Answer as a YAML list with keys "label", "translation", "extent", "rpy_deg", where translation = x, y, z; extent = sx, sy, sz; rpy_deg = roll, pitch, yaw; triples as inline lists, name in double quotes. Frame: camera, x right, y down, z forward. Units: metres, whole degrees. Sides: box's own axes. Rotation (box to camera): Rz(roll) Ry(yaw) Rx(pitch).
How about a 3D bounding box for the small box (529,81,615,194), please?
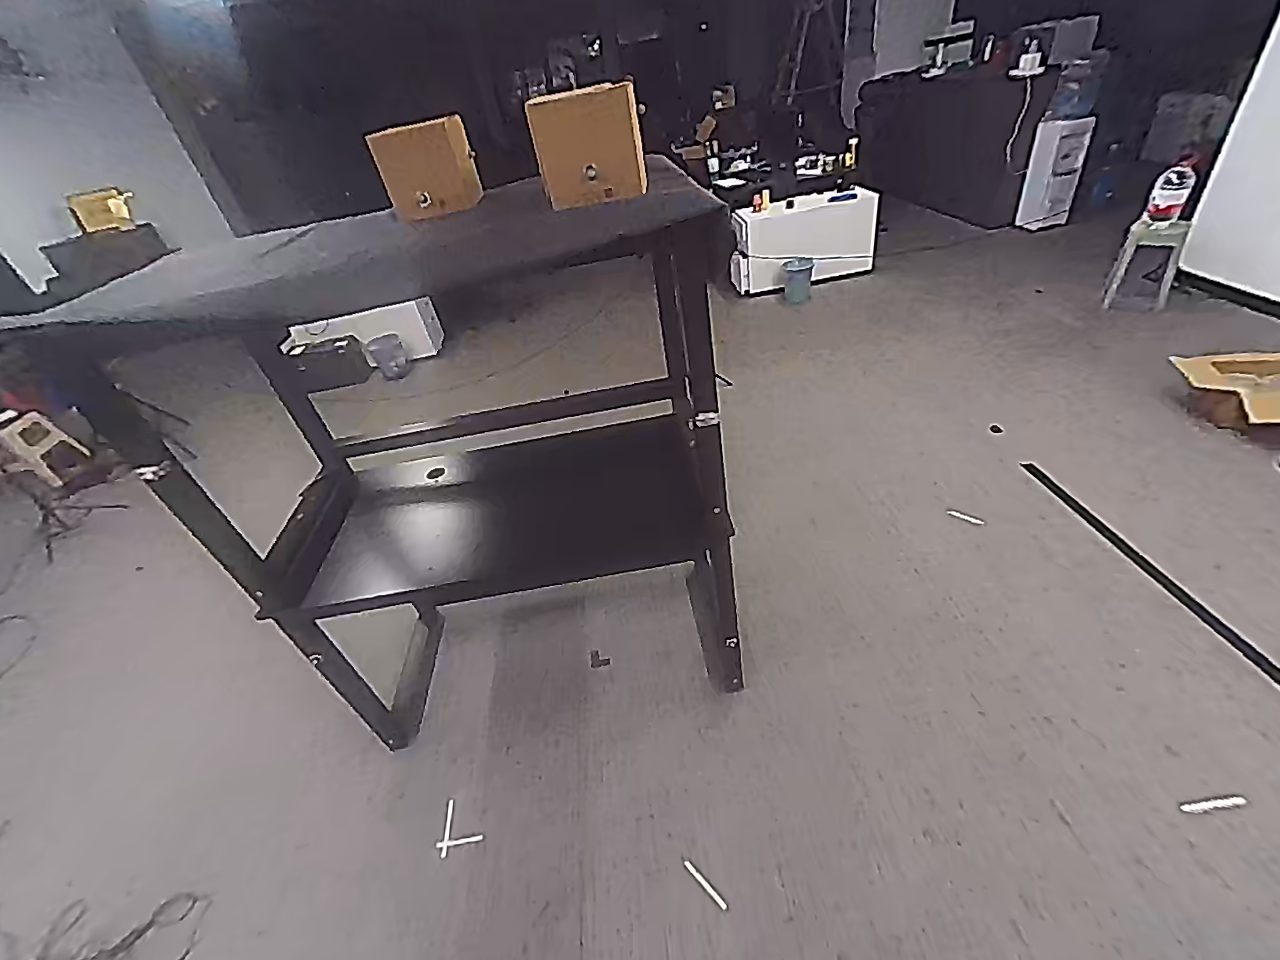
- label: "small box"
  translation: [-0.121, -0.722, 1.146]
  extent: [0.168, 0.176, 0.179]
  rpy_deg: [-7, 39, 6]

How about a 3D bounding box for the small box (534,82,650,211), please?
- label: "small box"
  translation: [-0.077, -0.600, 0.977]
  extent: [0.168, 0.176, 0.179]
  rpy_deg: [-7, 37, 8]

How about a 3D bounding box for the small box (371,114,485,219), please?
- label: "small box"
  translation: [-0.455, -0.691, 1.195]
  extent: [0.168, 0.176, 0.179]
  rpy_deg: [-11, 37, 2]
